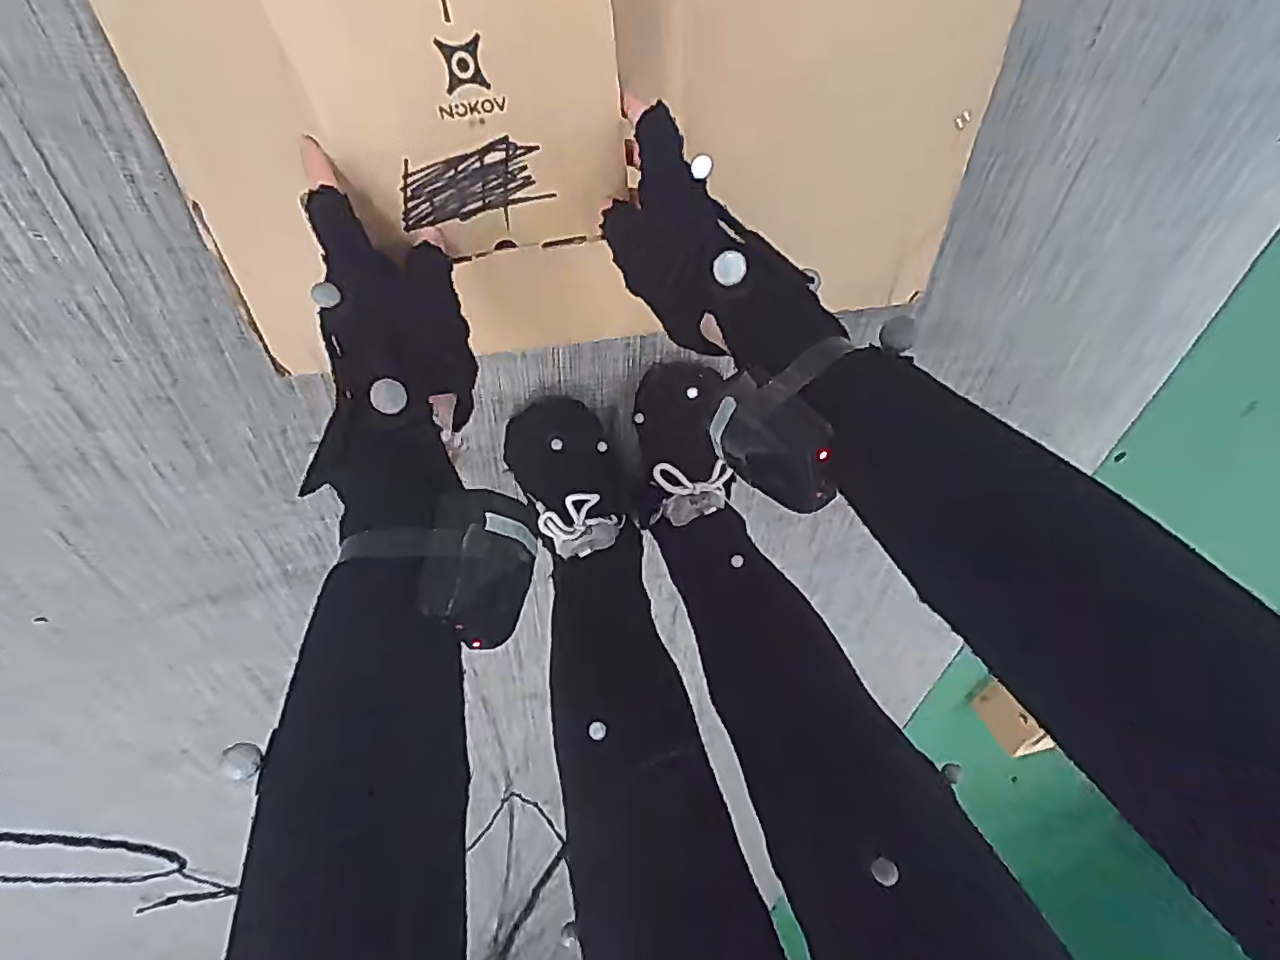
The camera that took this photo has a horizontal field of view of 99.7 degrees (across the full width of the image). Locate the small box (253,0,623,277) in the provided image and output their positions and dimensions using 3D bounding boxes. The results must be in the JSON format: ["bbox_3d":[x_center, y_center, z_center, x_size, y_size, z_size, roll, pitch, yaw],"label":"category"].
[{"bbox_3d":[-0.113,-0.256,0.345,0.168,0.176,0.179,-13,132,-7],"label":"small box"}]
